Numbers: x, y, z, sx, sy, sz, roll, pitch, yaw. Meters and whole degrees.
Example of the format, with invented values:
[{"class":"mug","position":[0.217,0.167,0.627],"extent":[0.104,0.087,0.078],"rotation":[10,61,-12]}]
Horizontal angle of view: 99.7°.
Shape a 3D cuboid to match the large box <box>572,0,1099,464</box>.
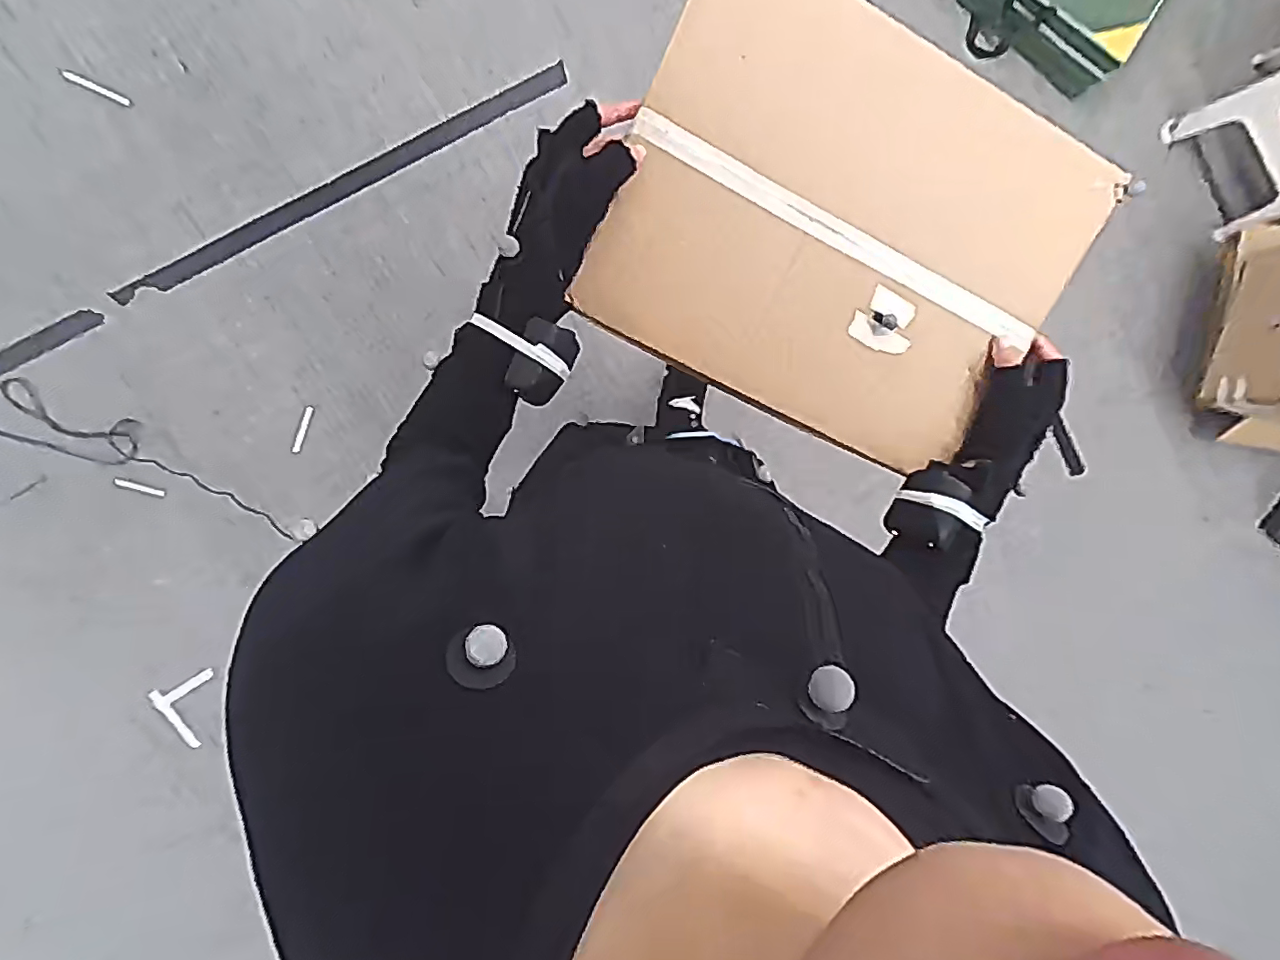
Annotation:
[{"class":"large box","position":[0.165,-0.263,0.630],"extent":[0.408,0.320,0.320],"rotation":[24,103,-10]}]
